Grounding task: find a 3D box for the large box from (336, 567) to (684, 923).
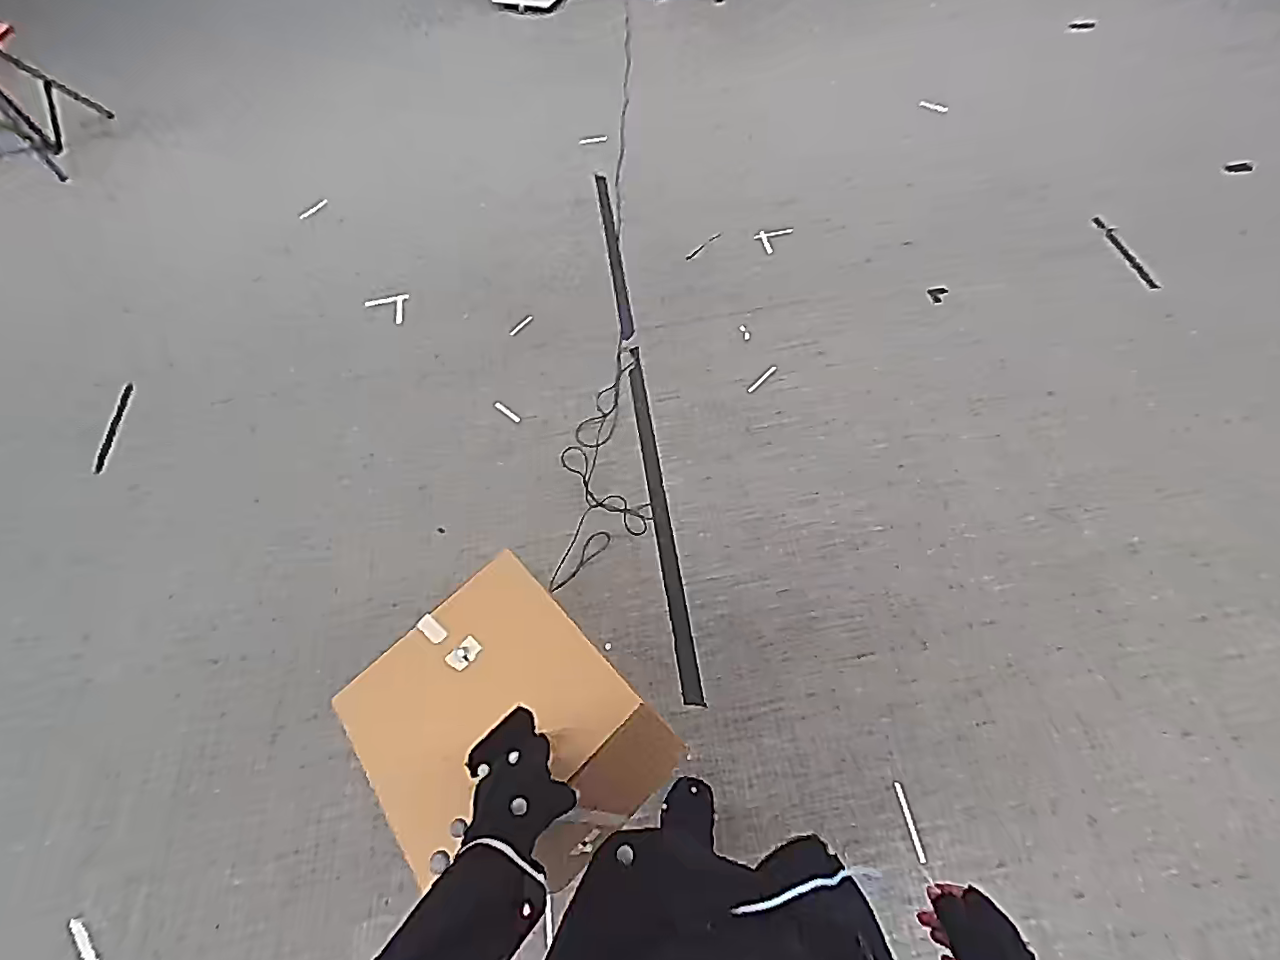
[{"bbox_3d":[-0.173,0.403,0.858,0.320,0.408,0.320,-42,57,-13],"label":"large box"}]
